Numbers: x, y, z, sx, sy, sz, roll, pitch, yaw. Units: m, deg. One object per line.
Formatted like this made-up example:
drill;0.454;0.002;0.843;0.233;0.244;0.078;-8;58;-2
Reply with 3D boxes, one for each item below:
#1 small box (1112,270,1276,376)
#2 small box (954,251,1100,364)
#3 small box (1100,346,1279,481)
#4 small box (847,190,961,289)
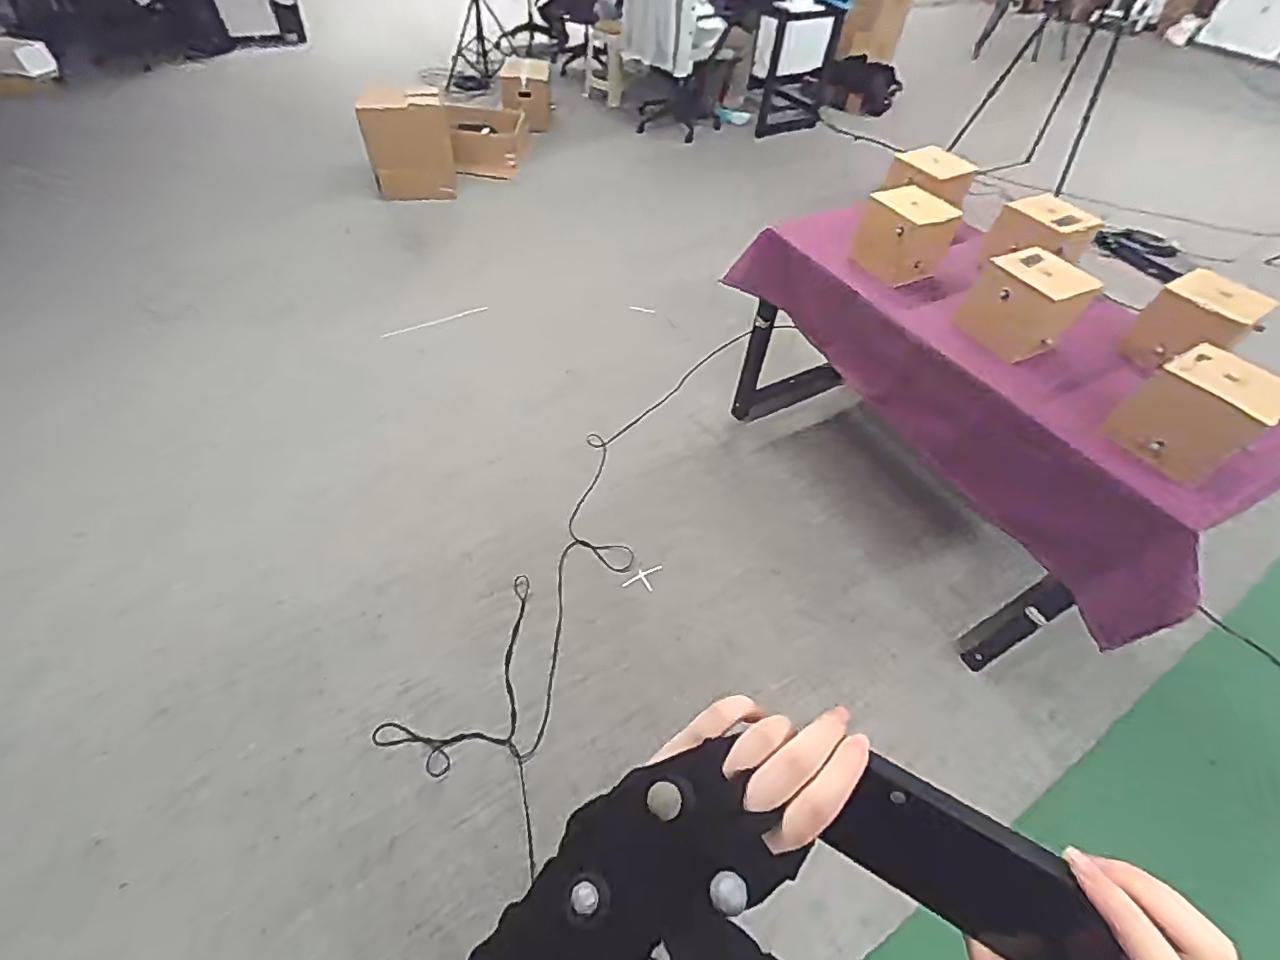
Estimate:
small box;1.231;-0.338;1.217;0.179;0.176;0.168;-25;56;-22
small box;0.871;-0.393;1.237;0.168;0.176;0.179;-20;56;-19
small box;1.048;-0.119;1.023;0.168;0.176;0.179;-23;56;-22
small box;0.682;-0.630;1.418;0.168;0.176;0.179;-21;56;-20
